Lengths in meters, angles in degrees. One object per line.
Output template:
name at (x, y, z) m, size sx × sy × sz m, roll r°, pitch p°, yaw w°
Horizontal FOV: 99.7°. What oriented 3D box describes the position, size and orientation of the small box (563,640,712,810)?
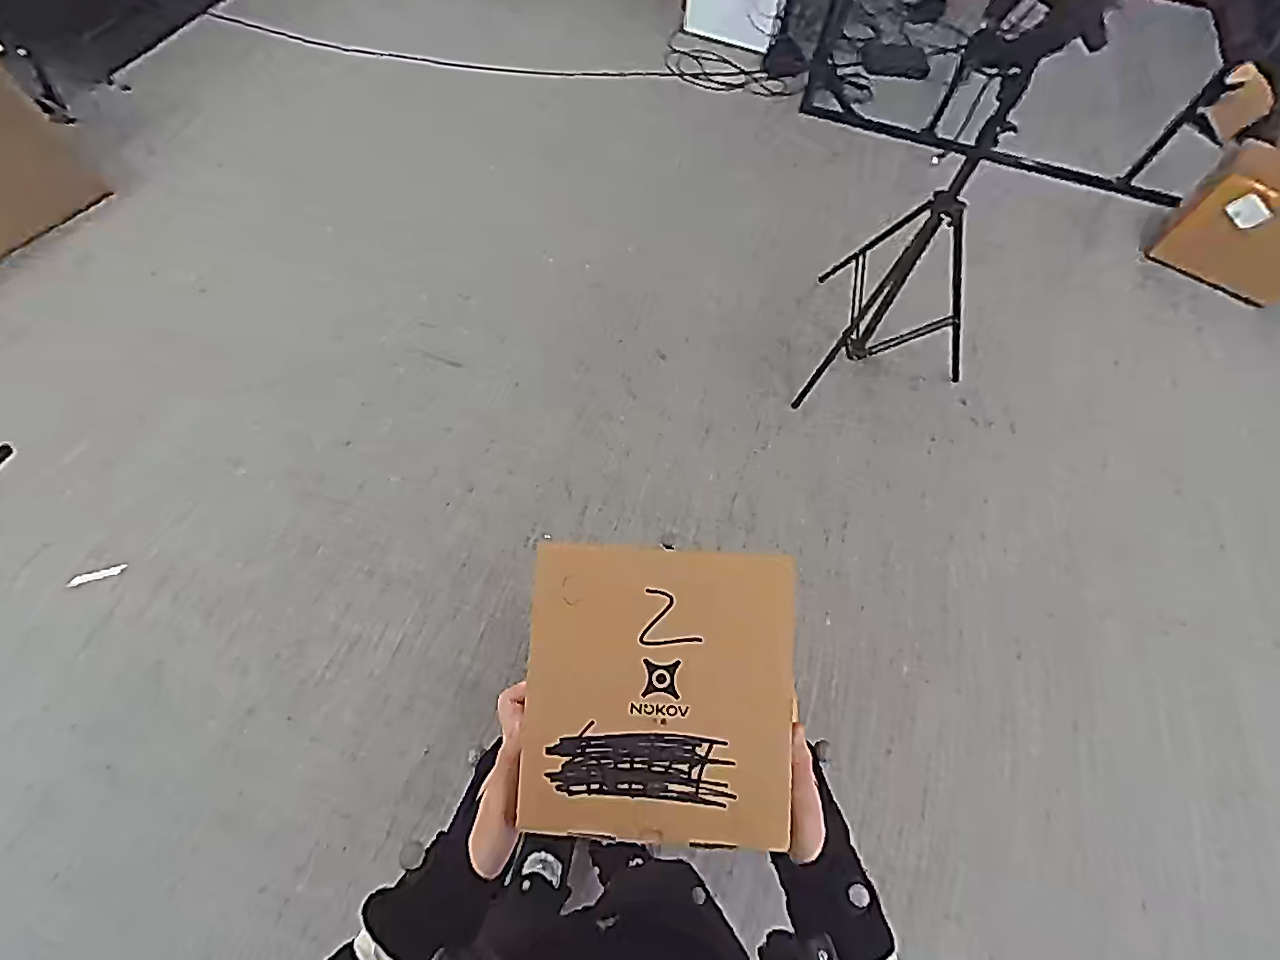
small box at (-0.004, 0.368, 0.825) m, size 0.168 × 0.176 × 0.179 m, roll 19°, pitch 66°, yaw 7°
